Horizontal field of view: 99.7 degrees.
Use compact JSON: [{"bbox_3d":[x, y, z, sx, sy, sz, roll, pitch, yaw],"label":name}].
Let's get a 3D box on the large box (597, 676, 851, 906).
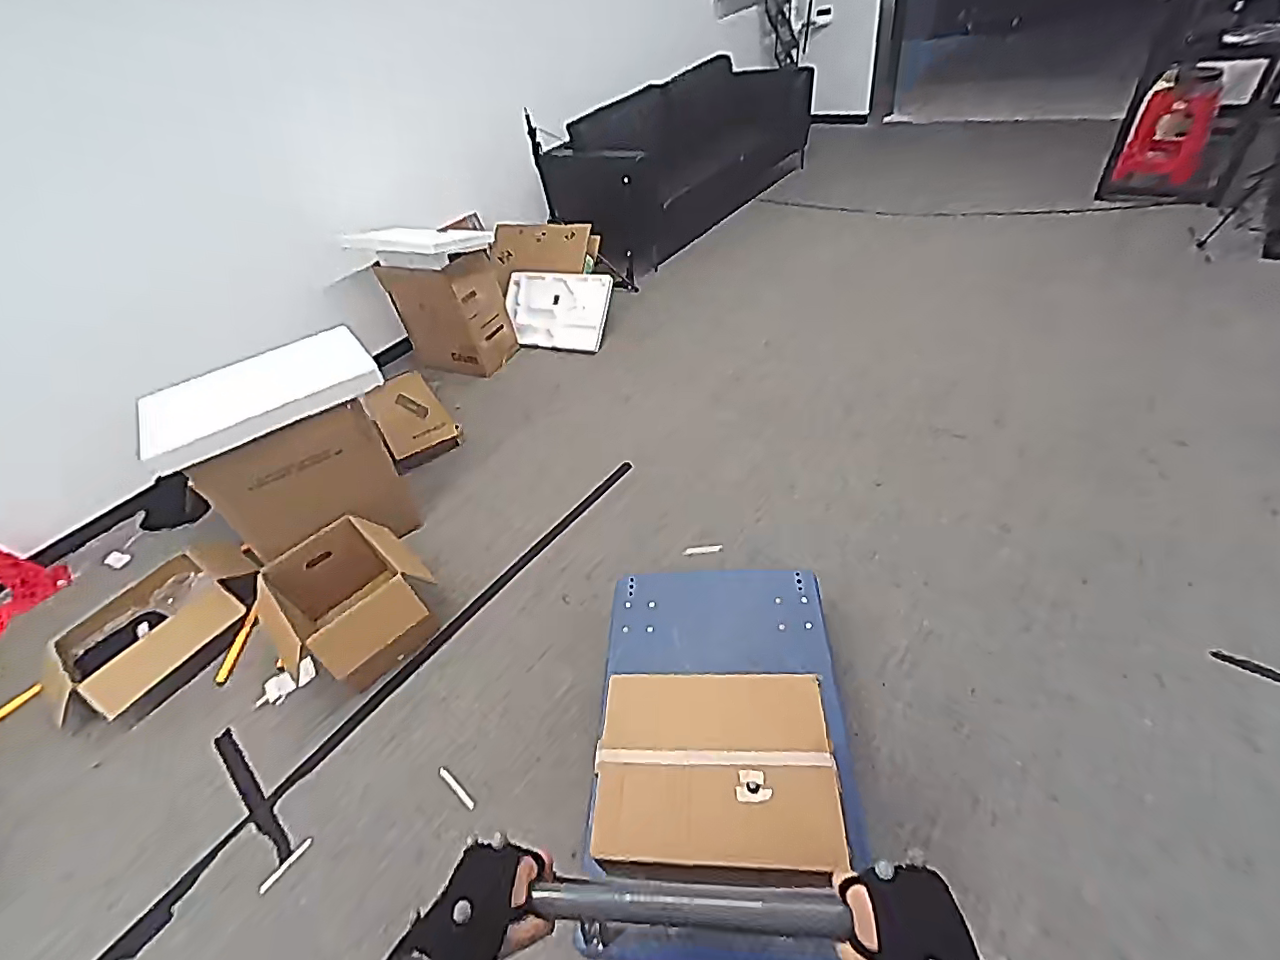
[{"bbox_3d":[0.151,0.601,1.048,0.408,0.320,0.320,-3,44,8],"label":"large box"}]
